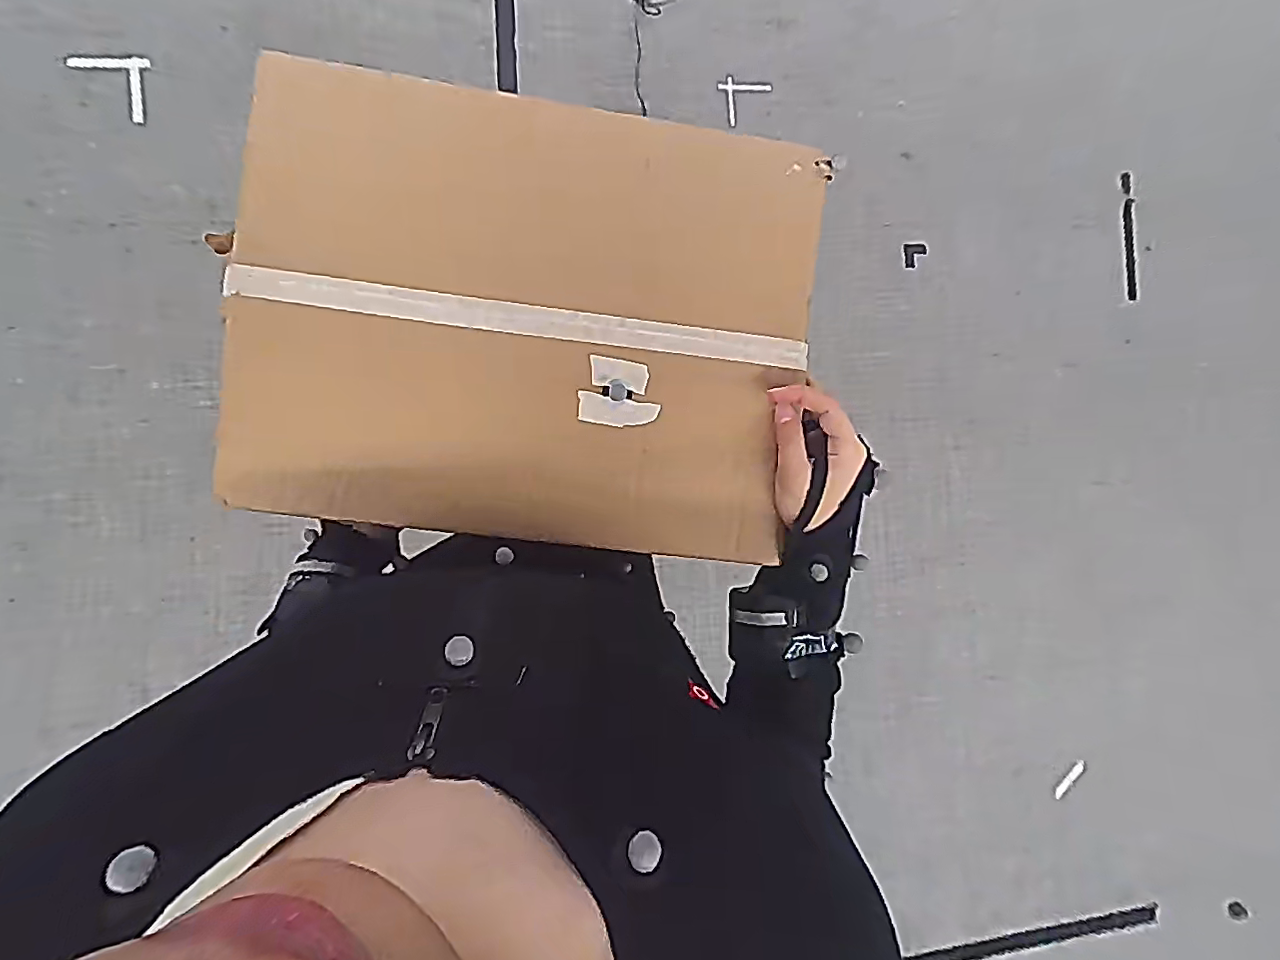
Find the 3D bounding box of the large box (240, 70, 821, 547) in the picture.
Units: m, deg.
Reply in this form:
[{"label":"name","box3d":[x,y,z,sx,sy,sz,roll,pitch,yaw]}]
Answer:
[{"label":"large box","box3d":[-0.087,-0.121,0.543,0.408,0.320,0.320,6,92,-6]}]
